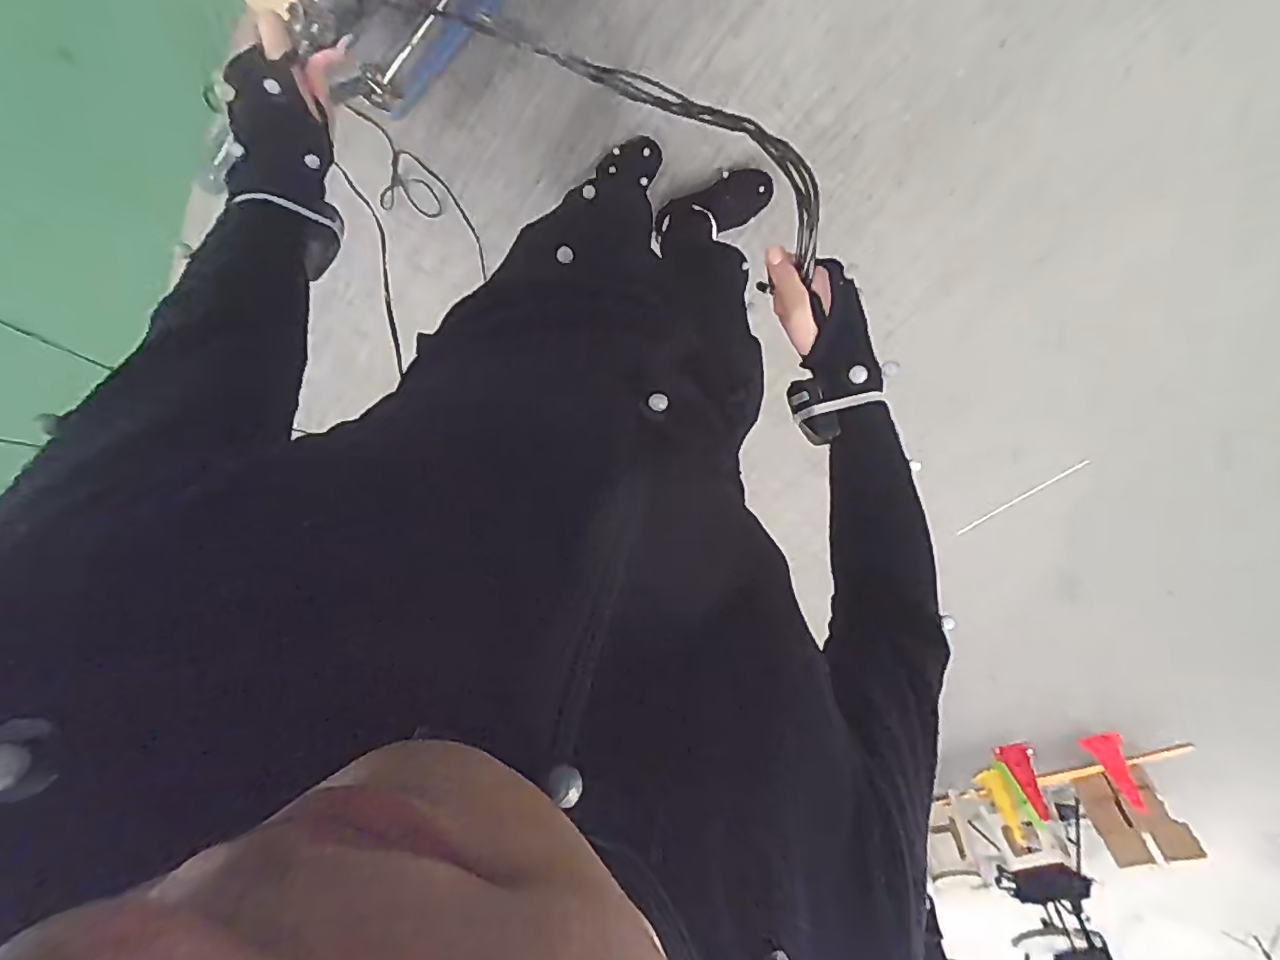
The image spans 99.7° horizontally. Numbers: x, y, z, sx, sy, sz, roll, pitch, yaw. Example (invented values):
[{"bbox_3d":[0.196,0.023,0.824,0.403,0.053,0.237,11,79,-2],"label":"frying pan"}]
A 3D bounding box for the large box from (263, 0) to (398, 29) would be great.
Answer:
[{"bbox_3d":[-0.504,-0.938,0.739,0.320,0.320,0.408,-31,122,25],"label":"large box"}]
